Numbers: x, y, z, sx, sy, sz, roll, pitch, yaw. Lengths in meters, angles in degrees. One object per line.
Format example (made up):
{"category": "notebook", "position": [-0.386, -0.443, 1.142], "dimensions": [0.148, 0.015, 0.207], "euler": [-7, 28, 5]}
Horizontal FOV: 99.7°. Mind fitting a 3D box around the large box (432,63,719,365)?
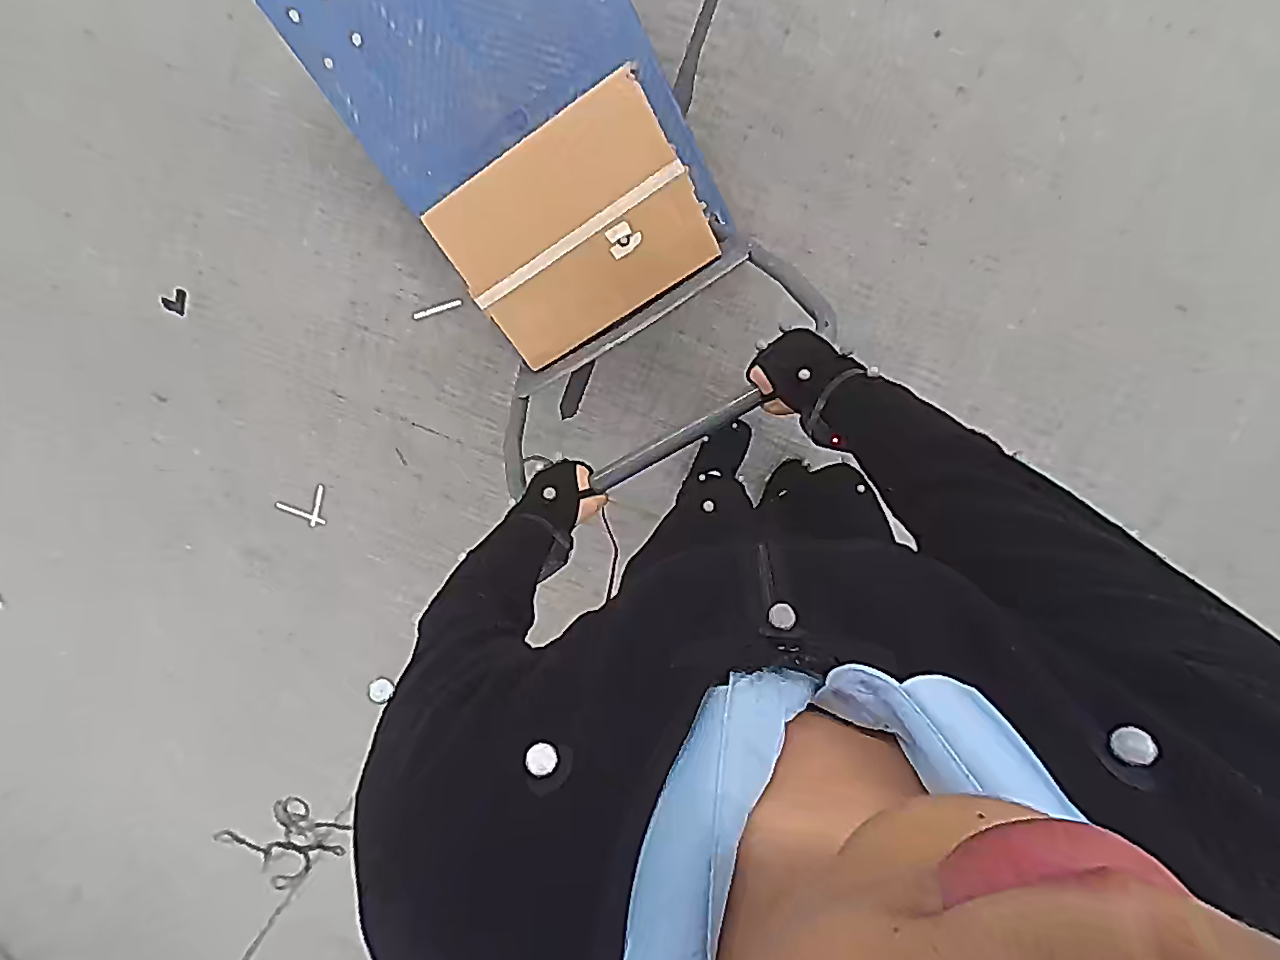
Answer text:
{"category": "large box", "position": [-0.117, -0.495, 1.054], "dimensions": [0.408, 0.320, 0.320], "euler": [-31, 118, 11]}
